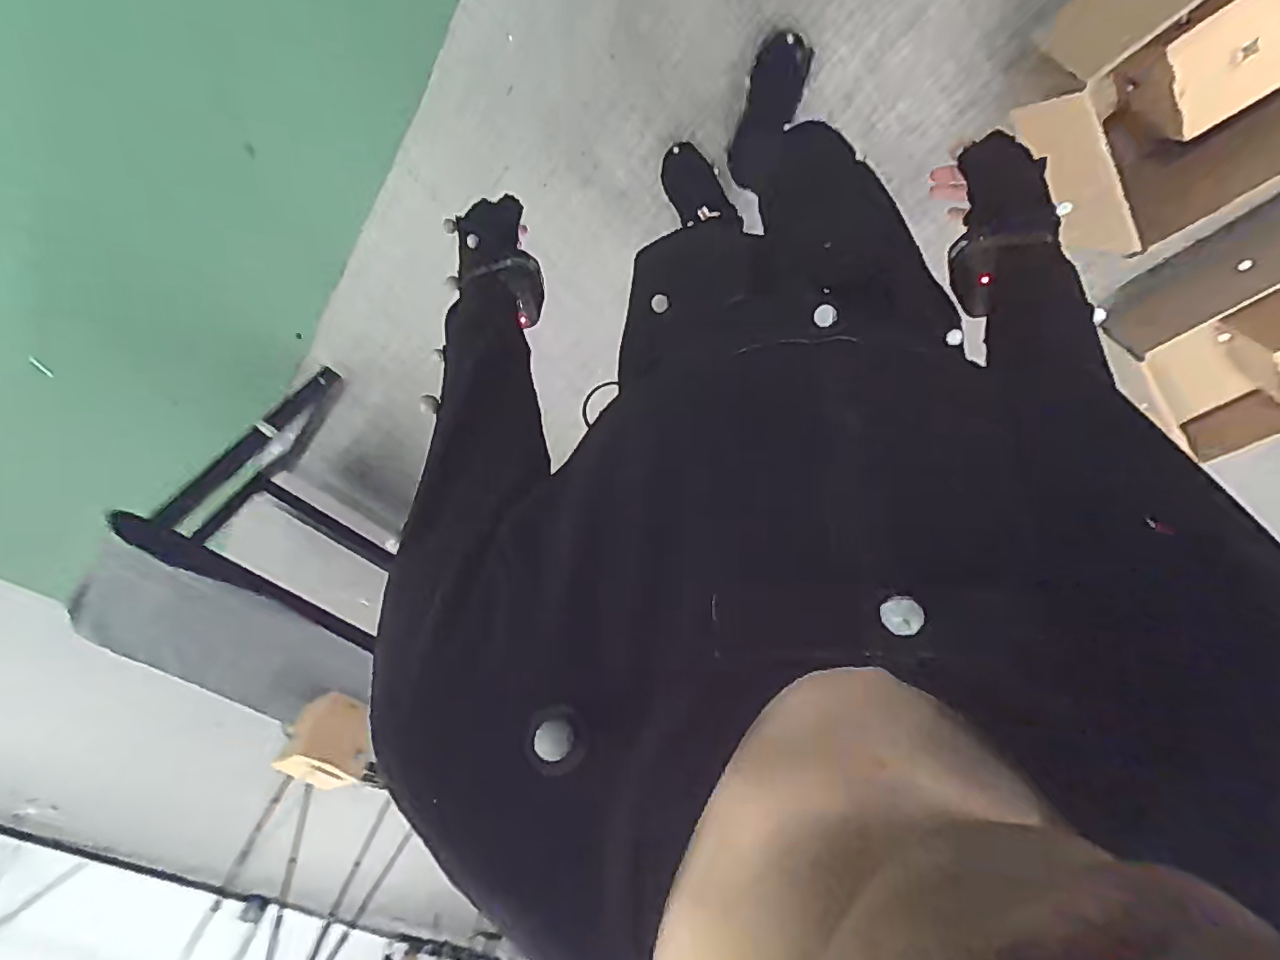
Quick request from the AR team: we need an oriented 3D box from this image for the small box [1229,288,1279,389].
[{"bbox_3d":[1.391,-0.303,1.123,0.179,0.176,0.168,-34,118,29],"label":"small box"}]
